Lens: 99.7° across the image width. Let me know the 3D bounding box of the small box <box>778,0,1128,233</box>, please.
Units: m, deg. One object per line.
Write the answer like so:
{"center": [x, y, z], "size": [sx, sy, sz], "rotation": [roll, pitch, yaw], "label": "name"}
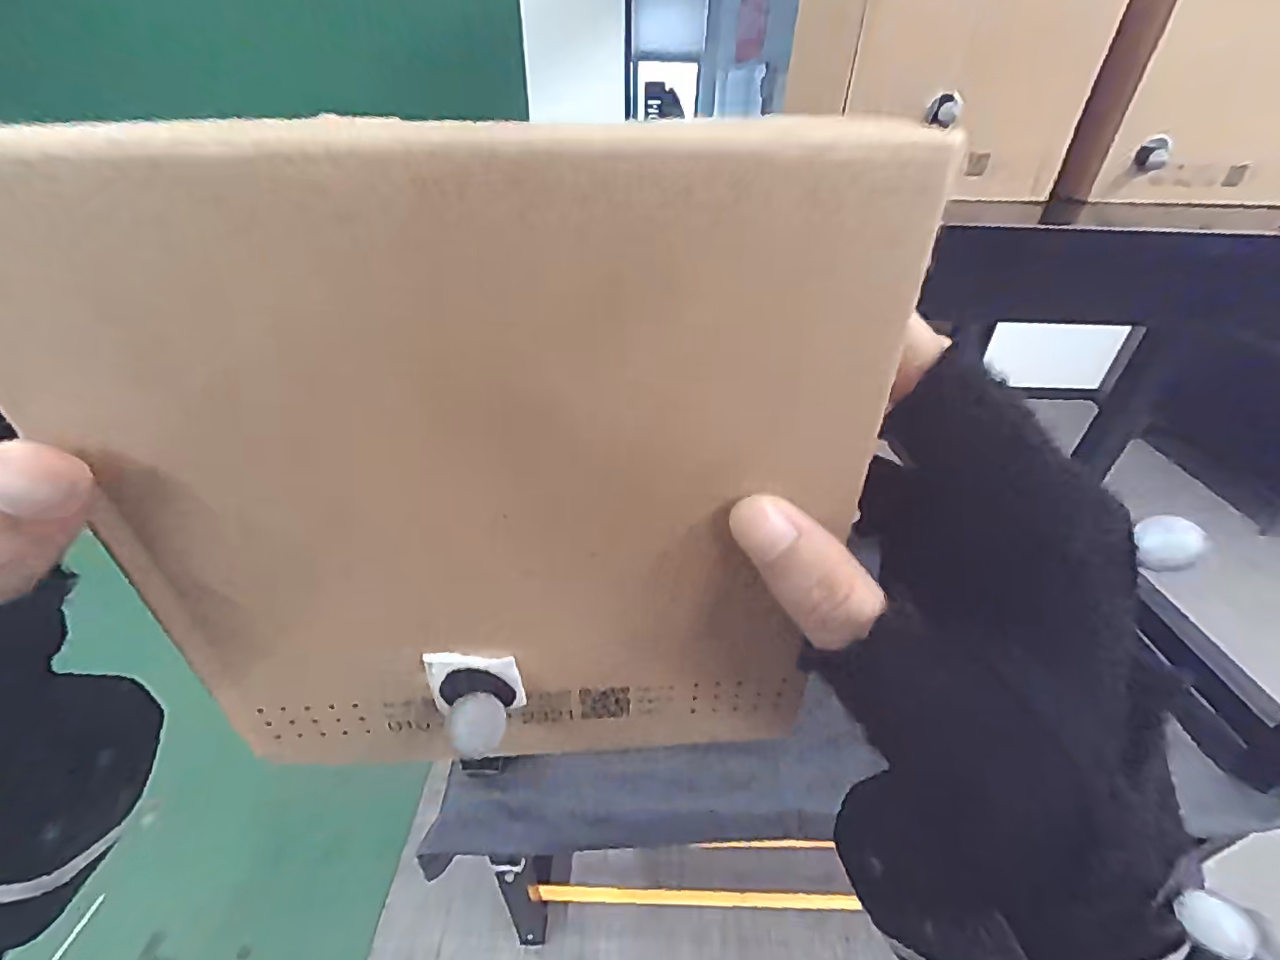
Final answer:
{"center": [0.218, -0.307, 0.430], "size": [0.168, 0.176, 0.179], "rotation": [1, 36, -2], "label": "small box"}
